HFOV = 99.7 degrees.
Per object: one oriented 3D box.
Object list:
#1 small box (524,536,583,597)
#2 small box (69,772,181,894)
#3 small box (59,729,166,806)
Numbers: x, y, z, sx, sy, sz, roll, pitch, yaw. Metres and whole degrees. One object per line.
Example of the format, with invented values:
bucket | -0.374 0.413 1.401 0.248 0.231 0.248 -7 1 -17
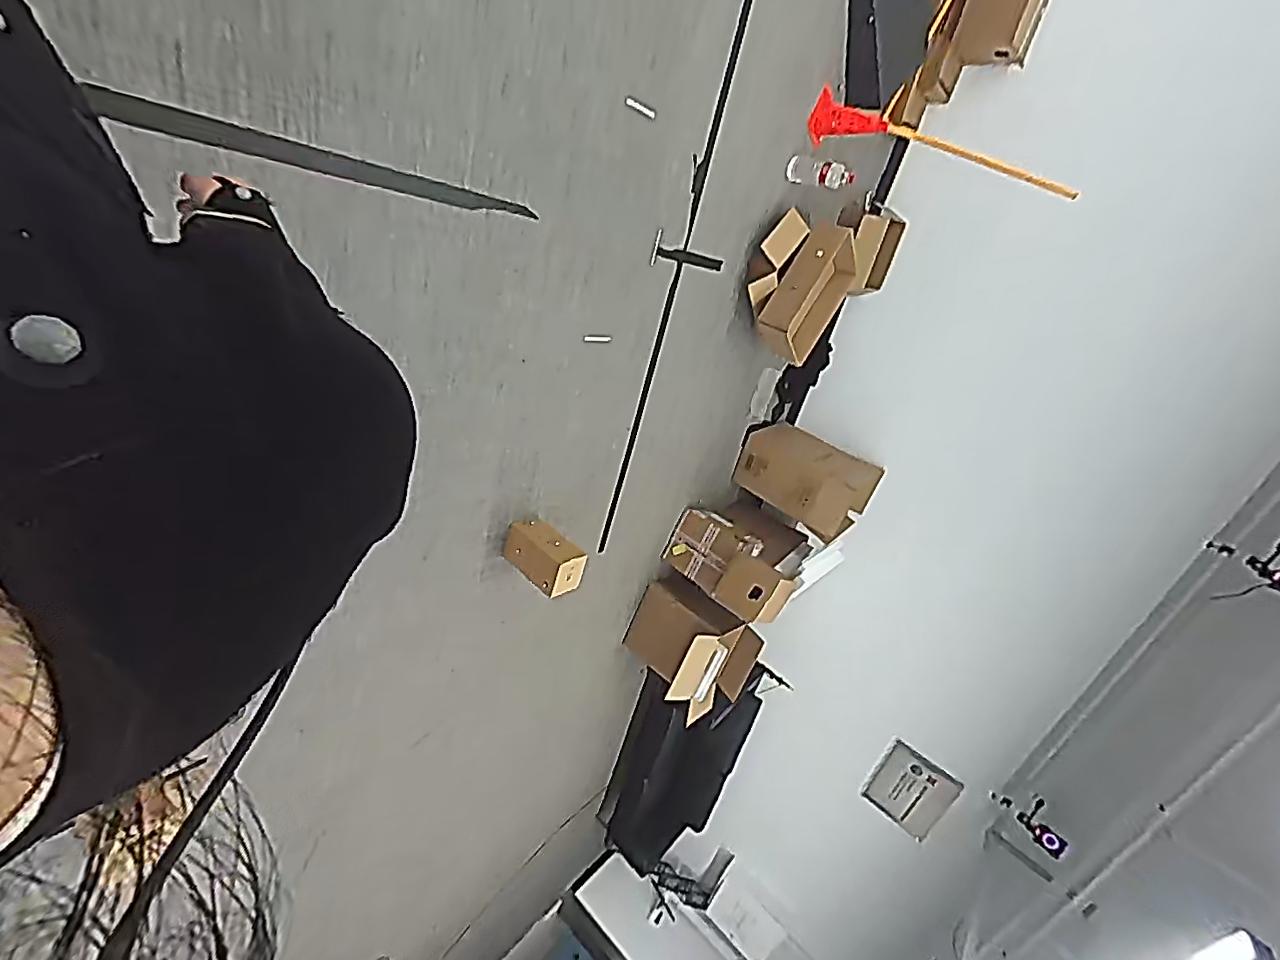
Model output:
small box | -0.374 0.365 2.307 0.168 0.176 0.179 -12 126 -52
small box | -1.325 0.895 1.393 0.168 0.176 0.179 -20 134 -47
small box | -1.443 0.818 1.479 0.168 0.176 0.179 -20 135 -46
